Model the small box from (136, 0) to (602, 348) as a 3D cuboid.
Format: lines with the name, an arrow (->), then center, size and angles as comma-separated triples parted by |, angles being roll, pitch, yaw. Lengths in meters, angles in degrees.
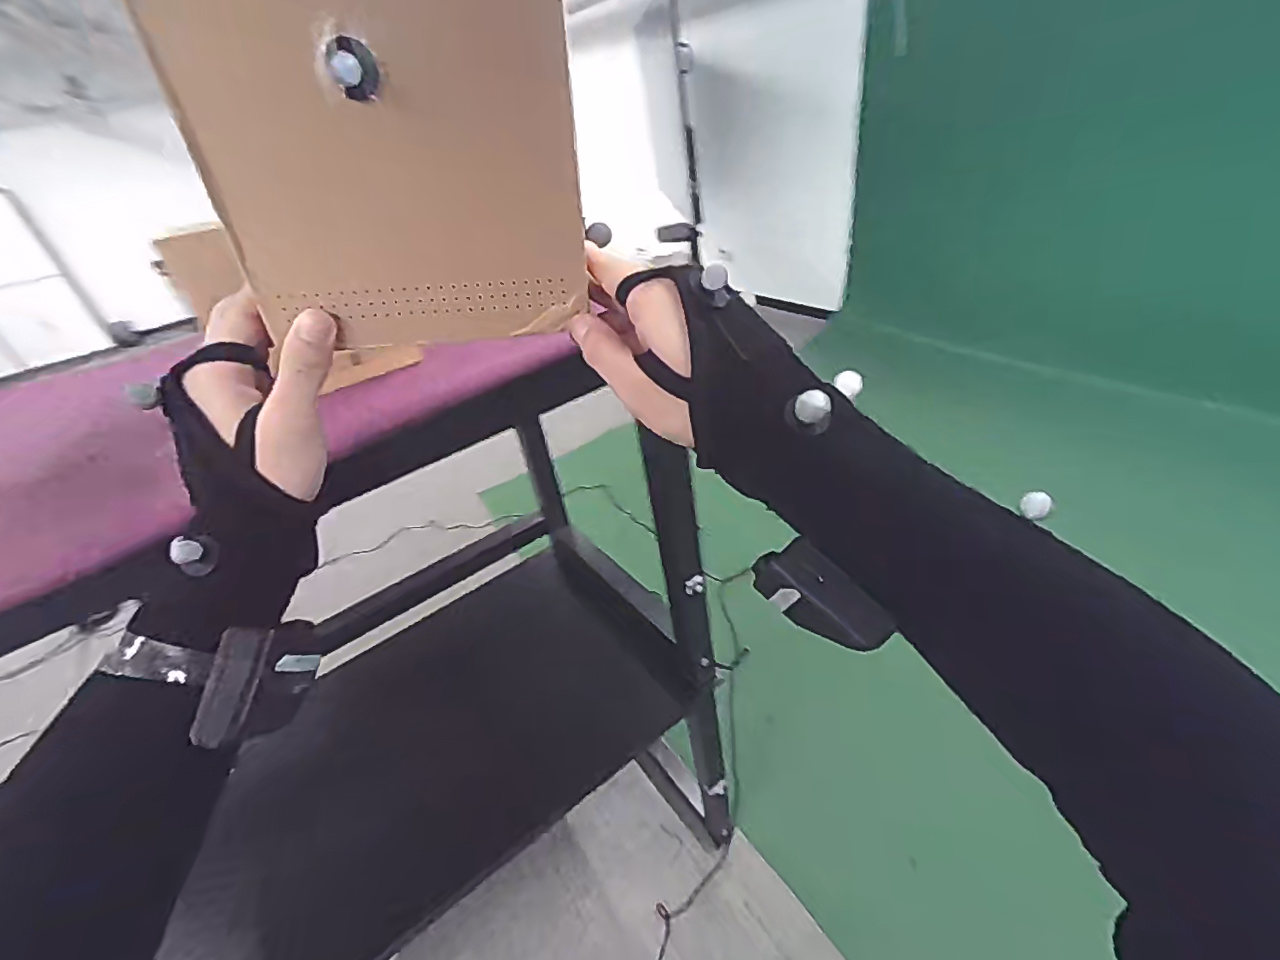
small box -> -0.118, -0.186, 0.317 | 0.179, 0.176, 0.168 | -5, 37, -2

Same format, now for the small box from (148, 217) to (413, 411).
small box -> -0.366, -0.191, 0.577 | 0.168, 0.176, 0.179 | -27, 36, -22
